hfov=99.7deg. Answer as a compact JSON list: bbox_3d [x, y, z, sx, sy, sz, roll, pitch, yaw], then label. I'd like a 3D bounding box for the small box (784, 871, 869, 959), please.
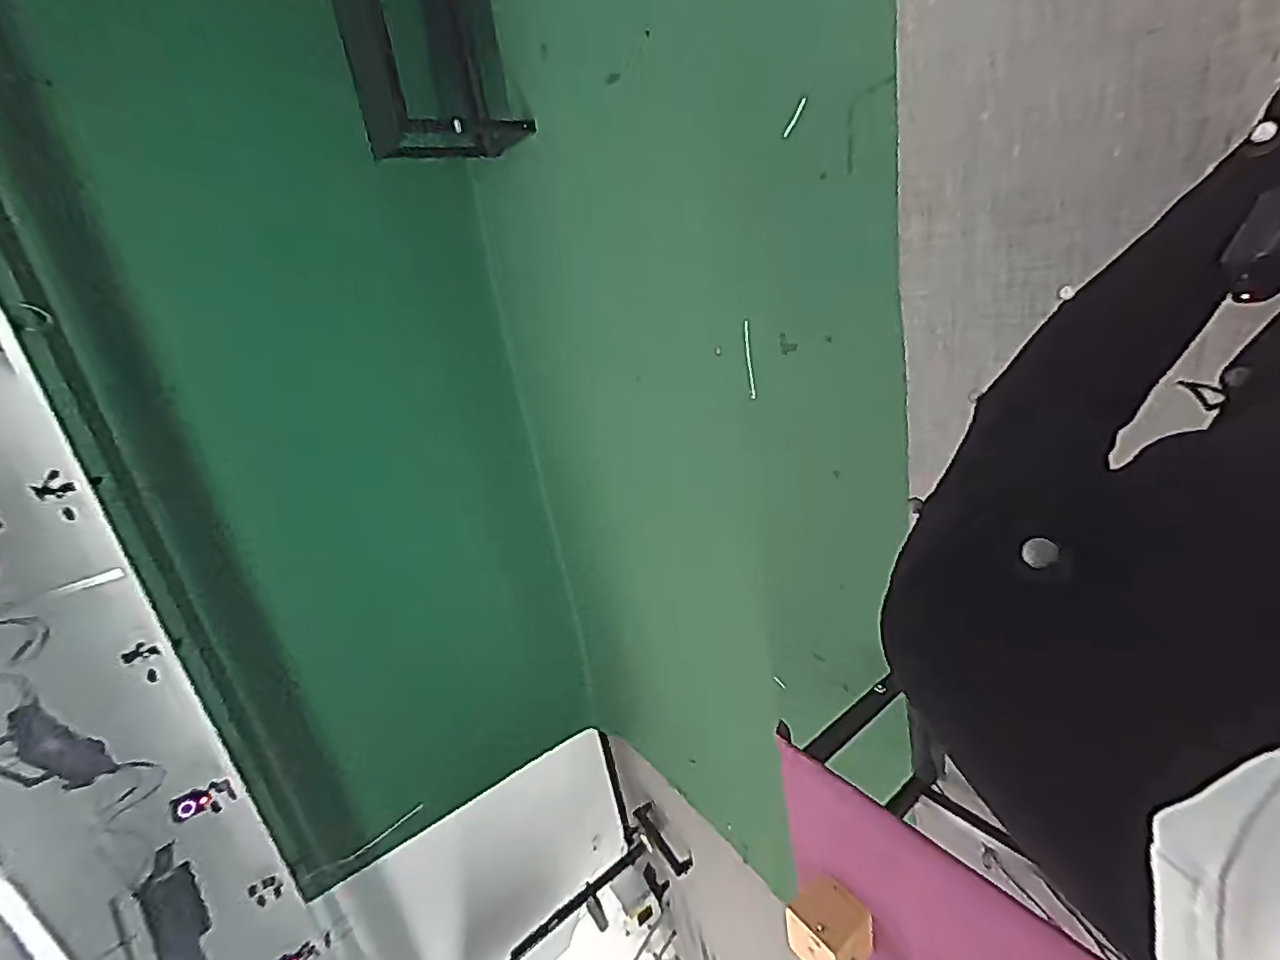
[{"bbox_3d":[0.533,1.278,1.535,0.168,0.176,0.179,16,121,52],"label":"small box"}]
